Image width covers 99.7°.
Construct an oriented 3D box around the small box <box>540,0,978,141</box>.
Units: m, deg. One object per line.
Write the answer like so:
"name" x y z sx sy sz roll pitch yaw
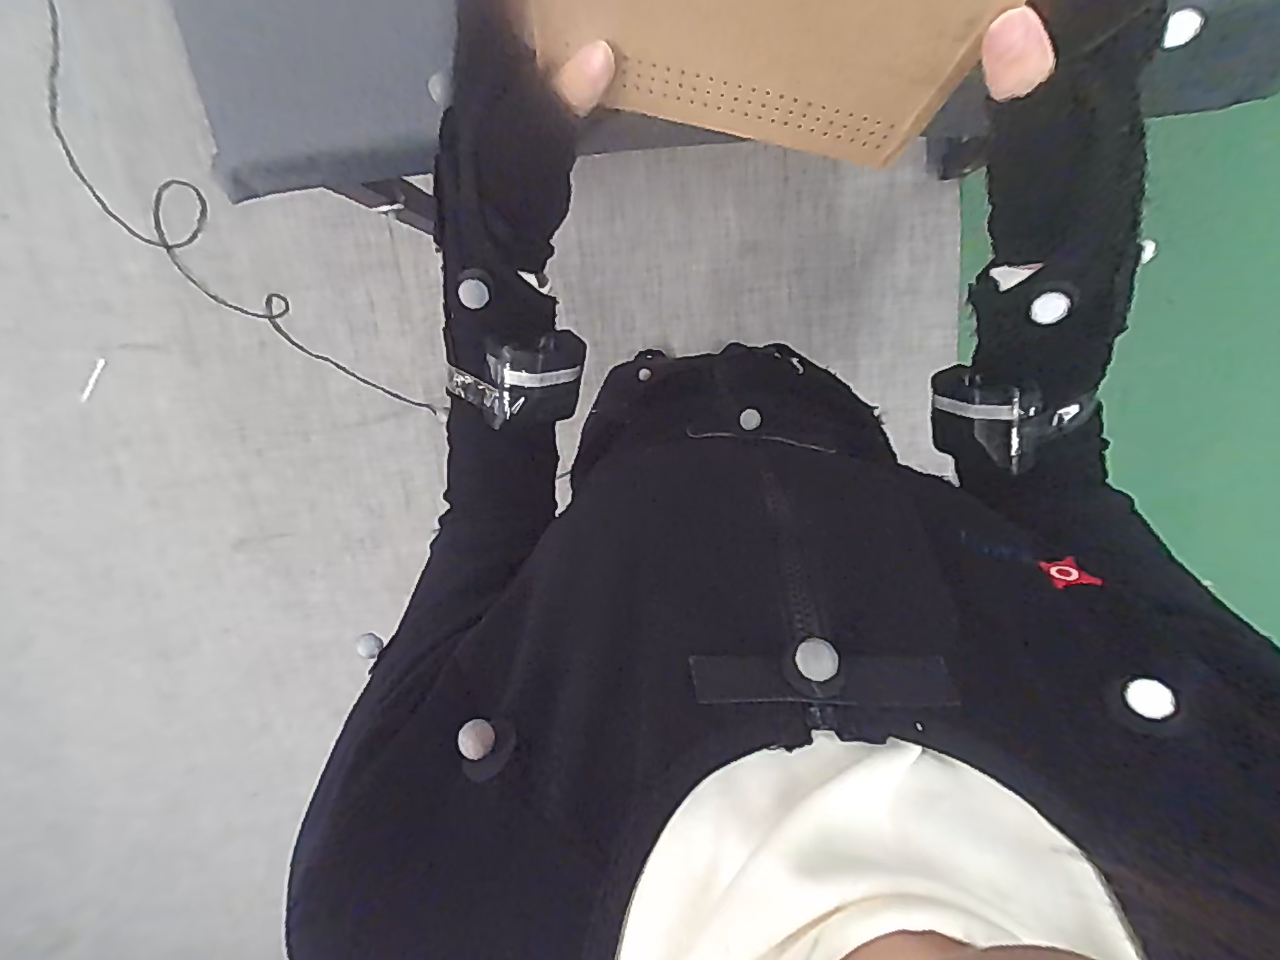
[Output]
"small box" 0.056 -0.262 0.194 0.179 0.176 0.168 11 85 -2
